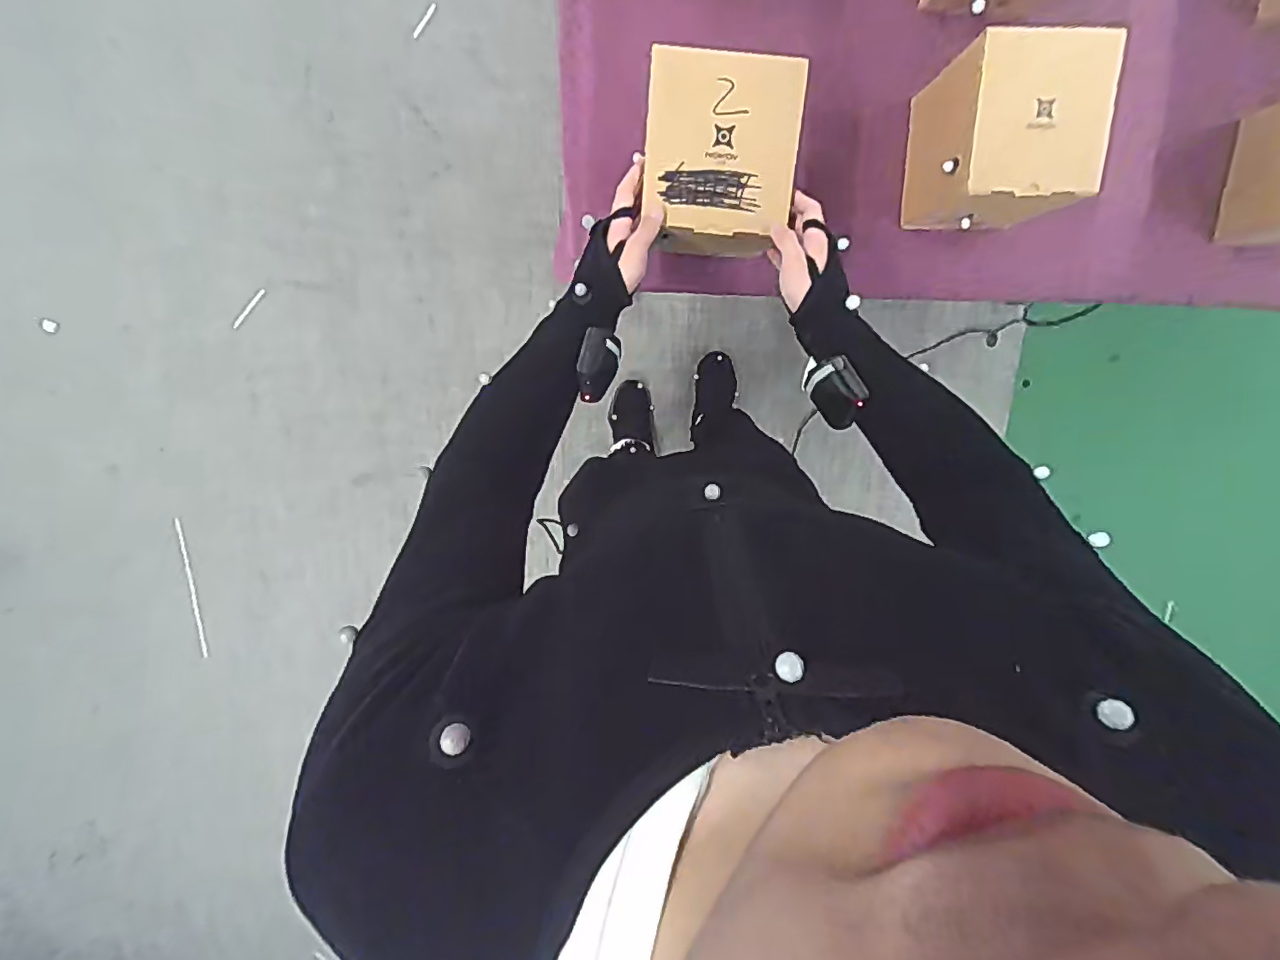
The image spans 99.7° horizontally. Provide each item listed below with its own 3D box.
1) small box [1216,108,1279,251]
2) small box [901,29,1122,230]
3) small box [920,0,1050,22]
[{"bbox_3d":[0.946,-0.417,0.722,0.168,0.176,0.179,2,103,0],"label":"small box"},{"bbox_3d":[0.469,-0.445,0.713,0.168,0.176,0.179,0,103,-2],"label":"small box"},{"bbox_3d":[0.465,-0.706,0.652,0.168,0.176,0.179,1,104,-1],"label":"small box"}]
